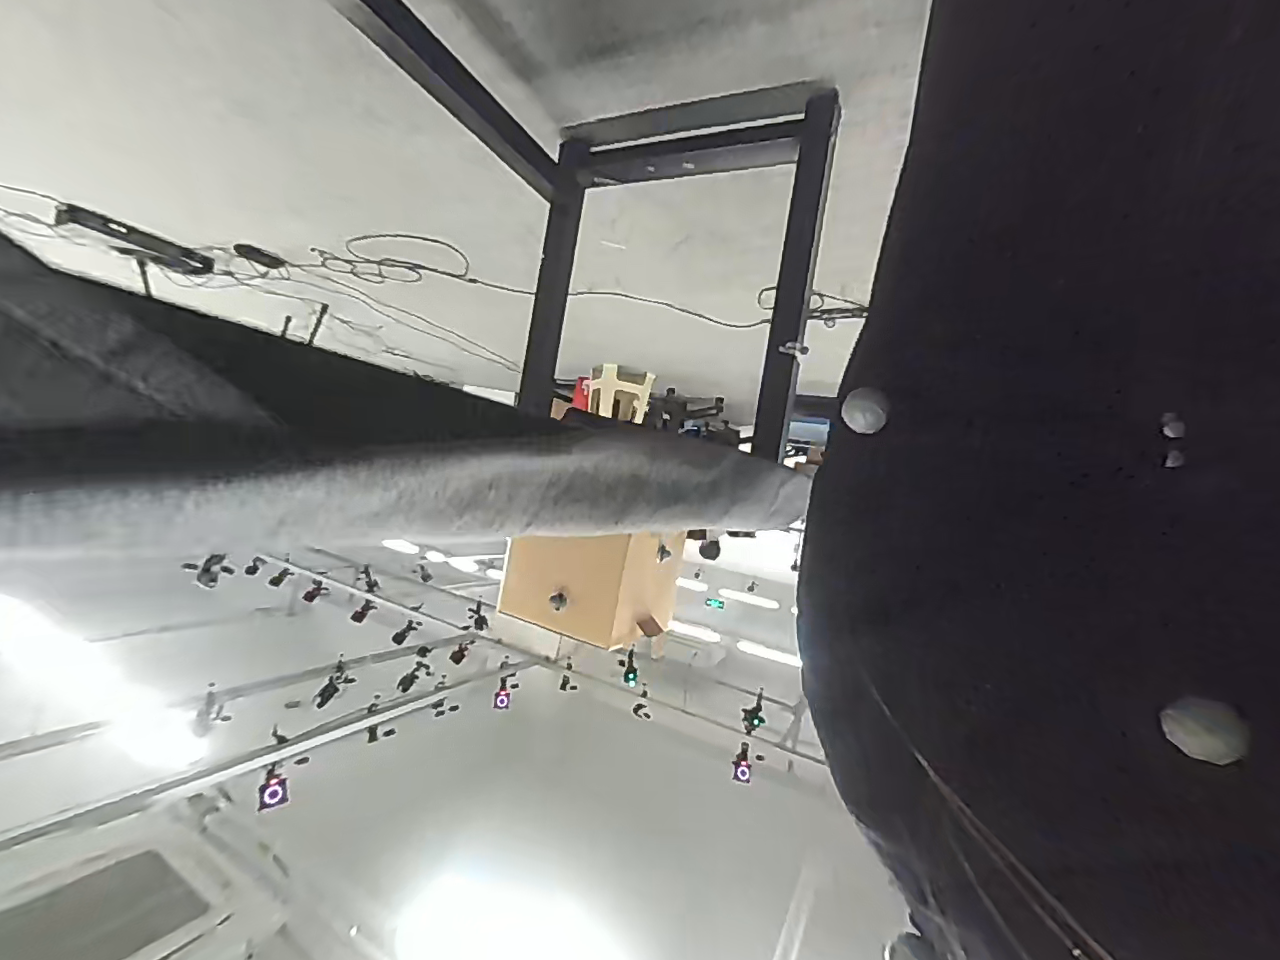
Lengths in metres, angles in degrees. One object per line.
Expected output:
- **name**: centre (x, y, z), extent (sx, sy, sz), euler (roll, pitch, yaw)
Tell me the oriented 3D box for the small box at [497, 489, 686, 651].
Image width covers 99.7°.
- **small box**: centre (-0.058, 0.107, 0.718), extent (0.179, 0.176, 0.168), euler (9, 178, 29)
